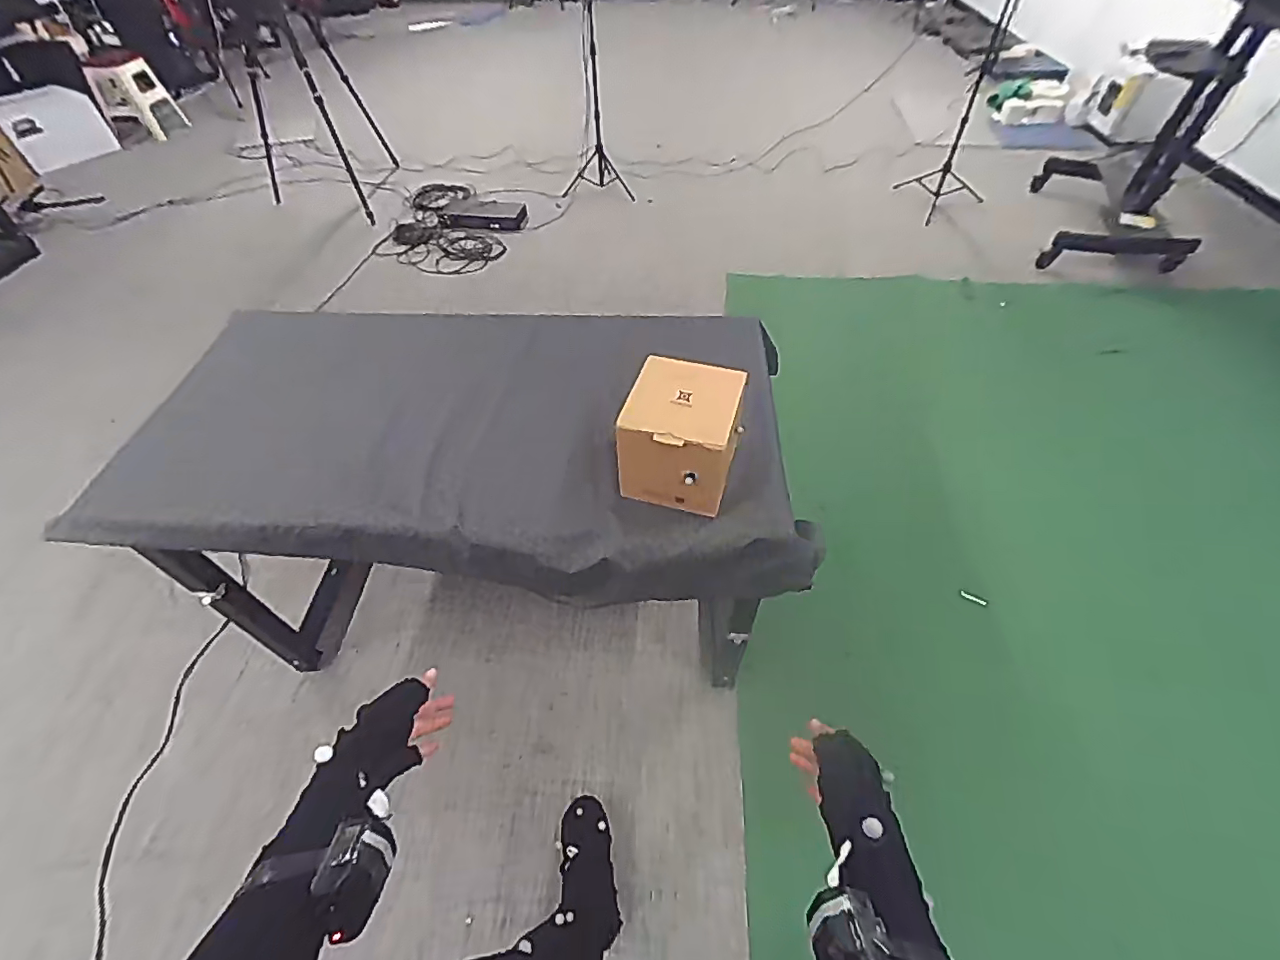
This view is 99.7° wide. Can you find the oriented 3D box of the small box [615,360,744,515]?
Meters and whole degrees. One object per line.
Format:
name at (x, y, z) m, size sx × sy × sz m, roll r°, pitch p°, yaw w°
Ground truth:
small box at (0.067, -0.068, 0.886) m, size 0.168 × 0.176 × 0.179 m, roll 13°, pitch 50°, yaw 11°
